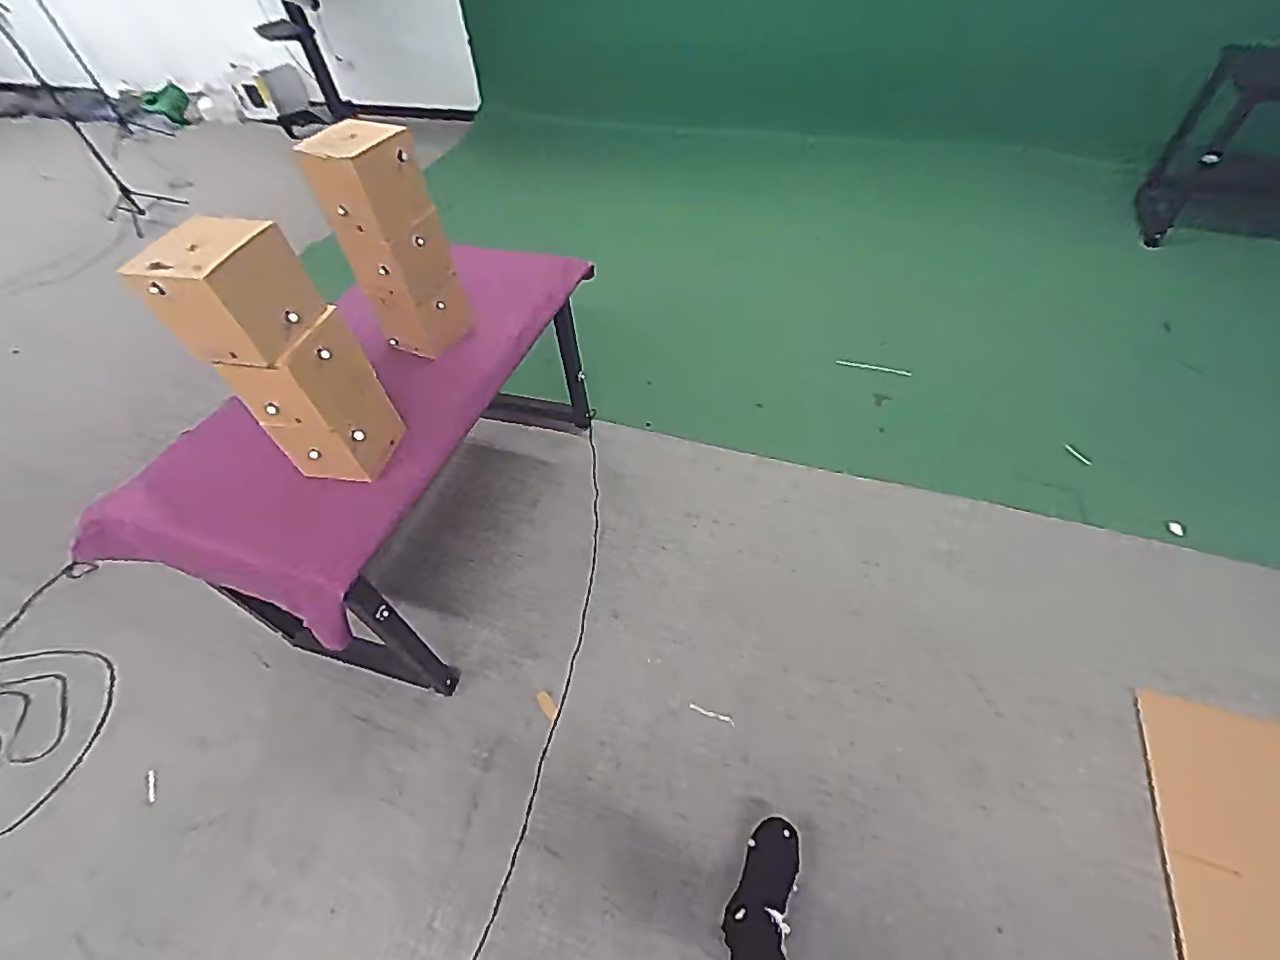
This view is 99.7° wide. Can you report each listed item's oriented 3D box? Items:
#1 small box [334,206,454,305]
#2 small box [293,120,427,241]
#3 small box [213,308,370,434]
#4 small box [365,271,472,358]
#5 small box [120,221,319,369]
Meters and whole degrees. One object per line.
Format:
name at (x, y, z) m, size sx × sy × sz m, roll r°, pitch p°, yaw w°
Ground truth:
small box at (-0.582, -0.550, 1.308) m, size 0.168 × 0.176 × 0.179 m, roll 19°, pitch 55°, yaw 17°
small box at (-0.594, -0.653, 1.179) m, size 0.168 × 0.176 × 0.179 m, roll 18°, pitch 55°, yaw 17°
small box at (-0.657, -0.215, 1.044) m, size 0.168 × 0.176 × 0.179 m, roll 7°, pitch 53°, yaw 10°
small box at (-0.576, -0.450, 1.436) m, size 0.168 × 0.176 × 0.179 m, roll 19°, pitch 54°, yaw 18°
small box at (-0.685, -0.313, 0.914) m, size 0.168 × 0.176 × 0.179 m, roll 7°, pitch 52°, yaw 12°
